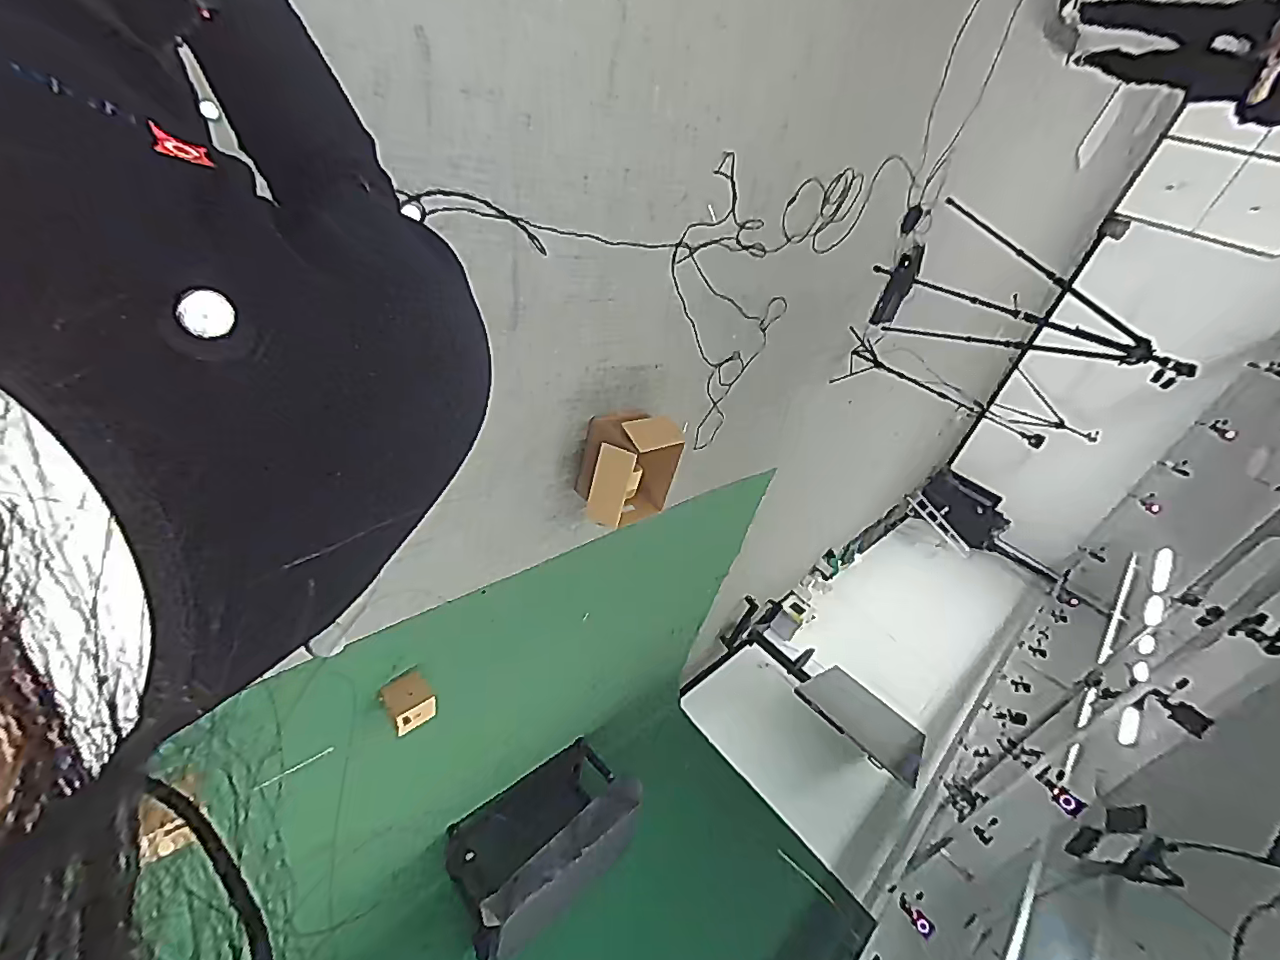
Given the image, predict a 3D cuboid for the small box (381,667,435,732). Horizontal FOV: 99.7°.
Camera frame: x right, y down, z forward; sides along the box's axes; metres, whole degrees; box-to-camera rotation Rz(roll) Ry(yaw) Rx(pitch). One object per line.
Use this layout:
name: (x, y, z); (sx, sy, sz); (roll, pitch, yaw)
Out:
small box: (-1.053, 0.990, 2.446); (0.179, 0.176, 0.168); (-23, 140, -40)
